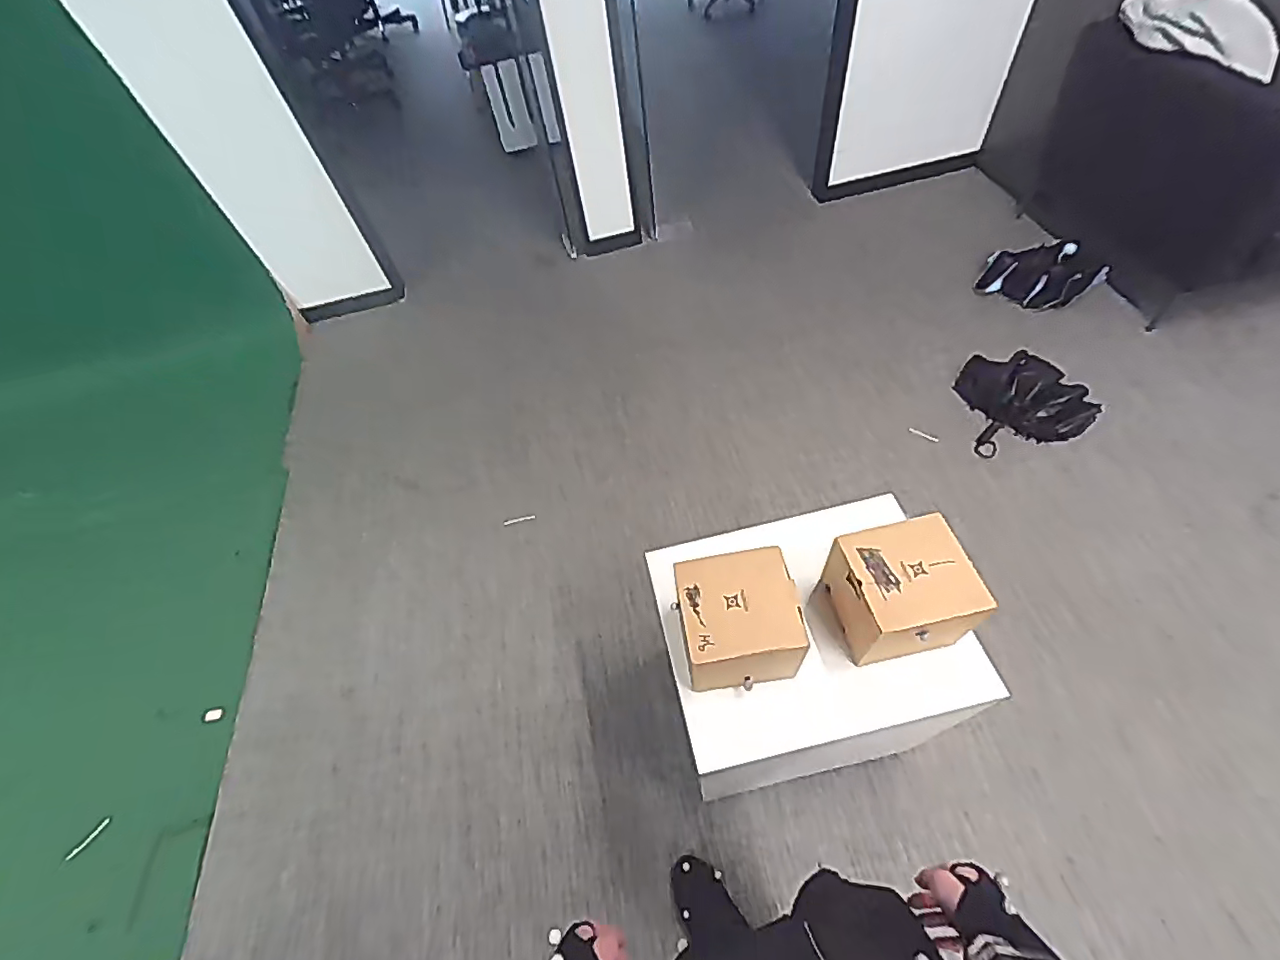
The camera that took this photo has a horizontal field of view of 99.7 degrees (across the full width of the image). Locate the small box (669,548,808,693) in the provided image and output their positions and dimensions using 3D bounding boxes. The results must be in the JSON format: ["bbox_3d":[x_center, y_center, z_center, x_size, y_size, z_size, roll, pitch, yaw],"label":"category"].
[{"bbox_3d":[0.144,0.227,0.864,0.179,0.176,0.168,-7,53,-3],"label":"small box"}]

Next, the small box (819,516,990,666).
[{"bbox_3d":[0.407,0.185,0.877,0.179,0.176,0.168,-11,55,-4],"label":"small box"}]
